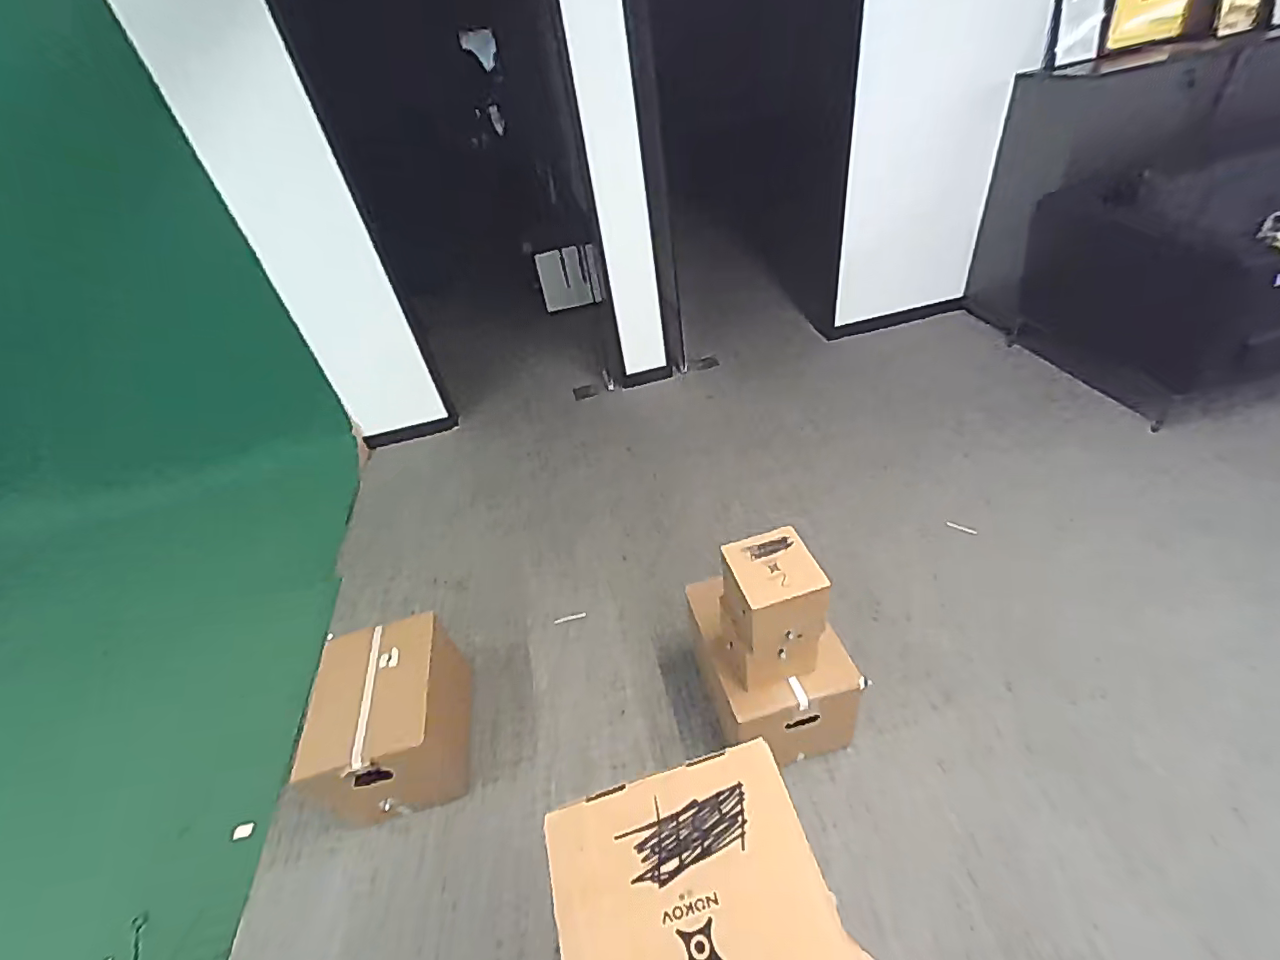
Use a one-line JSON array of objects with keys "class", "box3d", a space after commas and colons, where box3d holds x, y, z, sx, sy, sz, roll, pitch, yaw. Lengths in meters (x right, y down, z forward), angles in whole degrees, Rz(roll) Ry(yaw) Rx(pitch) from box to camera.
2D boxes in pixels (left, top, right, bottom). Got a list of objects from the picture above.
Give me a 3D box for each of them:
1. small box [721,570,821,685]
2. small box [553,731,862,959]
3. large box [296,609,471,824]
[{"class": "small box", "box3d": [0.301, 0.346, 1.264, 0.179, 0.176, 0.168, -17, 41, -5]}, {"class": "small box", "box3d": [0.046, 0.315, 0.388, 0.168, 0.176, 0.179, -17, 49, -4]}, {"class": "large box", "box3d": [-0.674, 0.645, 1.502, 0.320, 0.320, 0.408, -15, 39, -5]}]
